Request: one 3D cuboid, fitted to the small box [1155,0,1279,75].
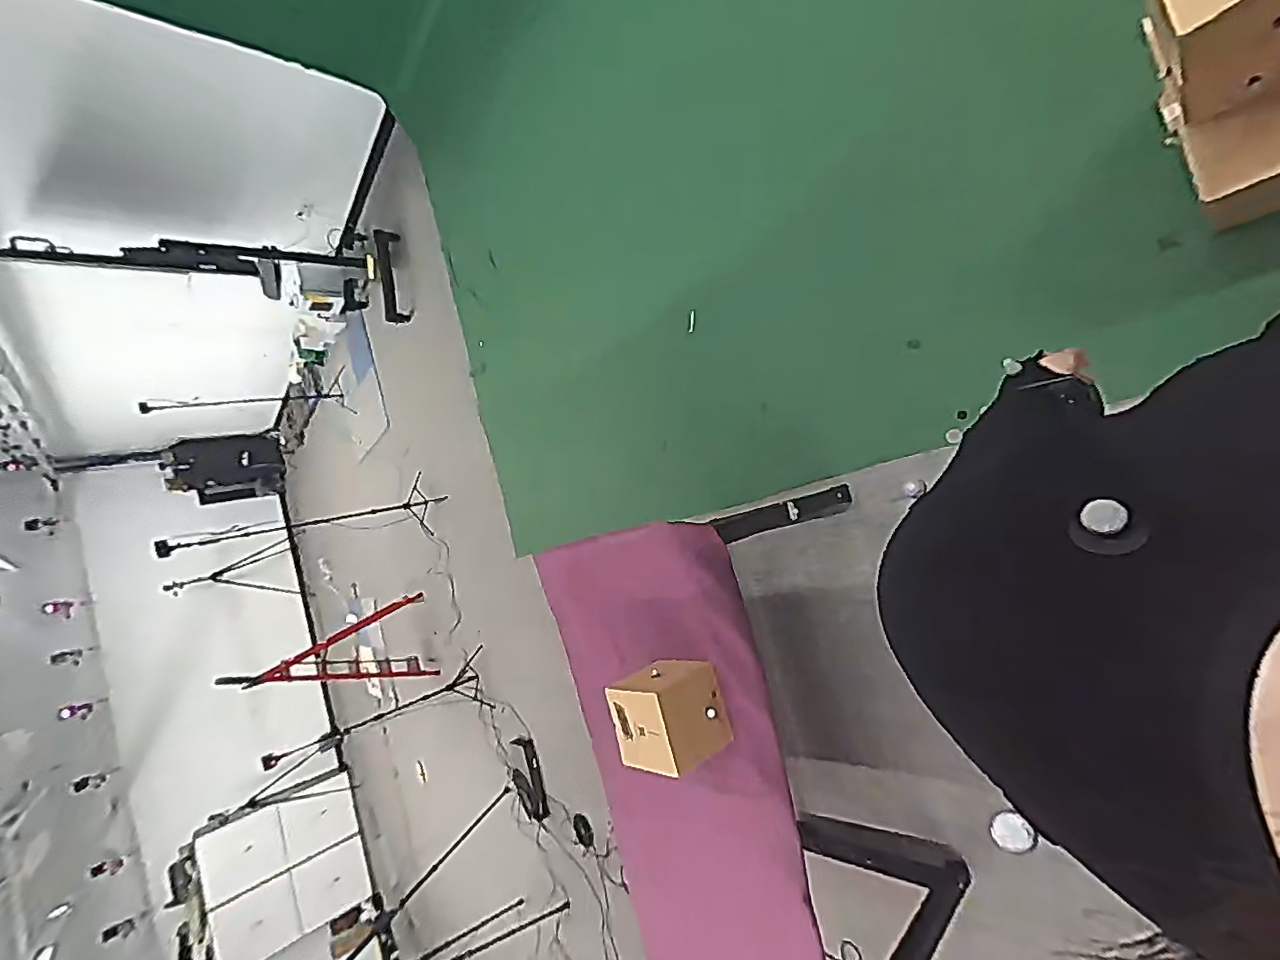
[{"bbox_3d":[0.677,-0.600,0.590,0.168,0.176,0.179,-20,84,48],"label":"small box"}]

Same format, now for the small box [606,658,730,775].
[{"bbox_3d":[0.059,0.484,1.135,0.179,0.176,0.168,-20,83,48],"label":"small box"}]

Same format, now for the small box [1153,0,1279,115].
[{"bbox_3d":[0.796,-0.625,0.701,0.168,0.176,0.179,-18,85,48],"label":"small box"}]

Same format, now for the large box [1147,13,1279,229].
[{"bbox_3d":[1.053,-0.634,0.778,0.408,0.320,0.320,-19,85,48],"label":"large box"}]
